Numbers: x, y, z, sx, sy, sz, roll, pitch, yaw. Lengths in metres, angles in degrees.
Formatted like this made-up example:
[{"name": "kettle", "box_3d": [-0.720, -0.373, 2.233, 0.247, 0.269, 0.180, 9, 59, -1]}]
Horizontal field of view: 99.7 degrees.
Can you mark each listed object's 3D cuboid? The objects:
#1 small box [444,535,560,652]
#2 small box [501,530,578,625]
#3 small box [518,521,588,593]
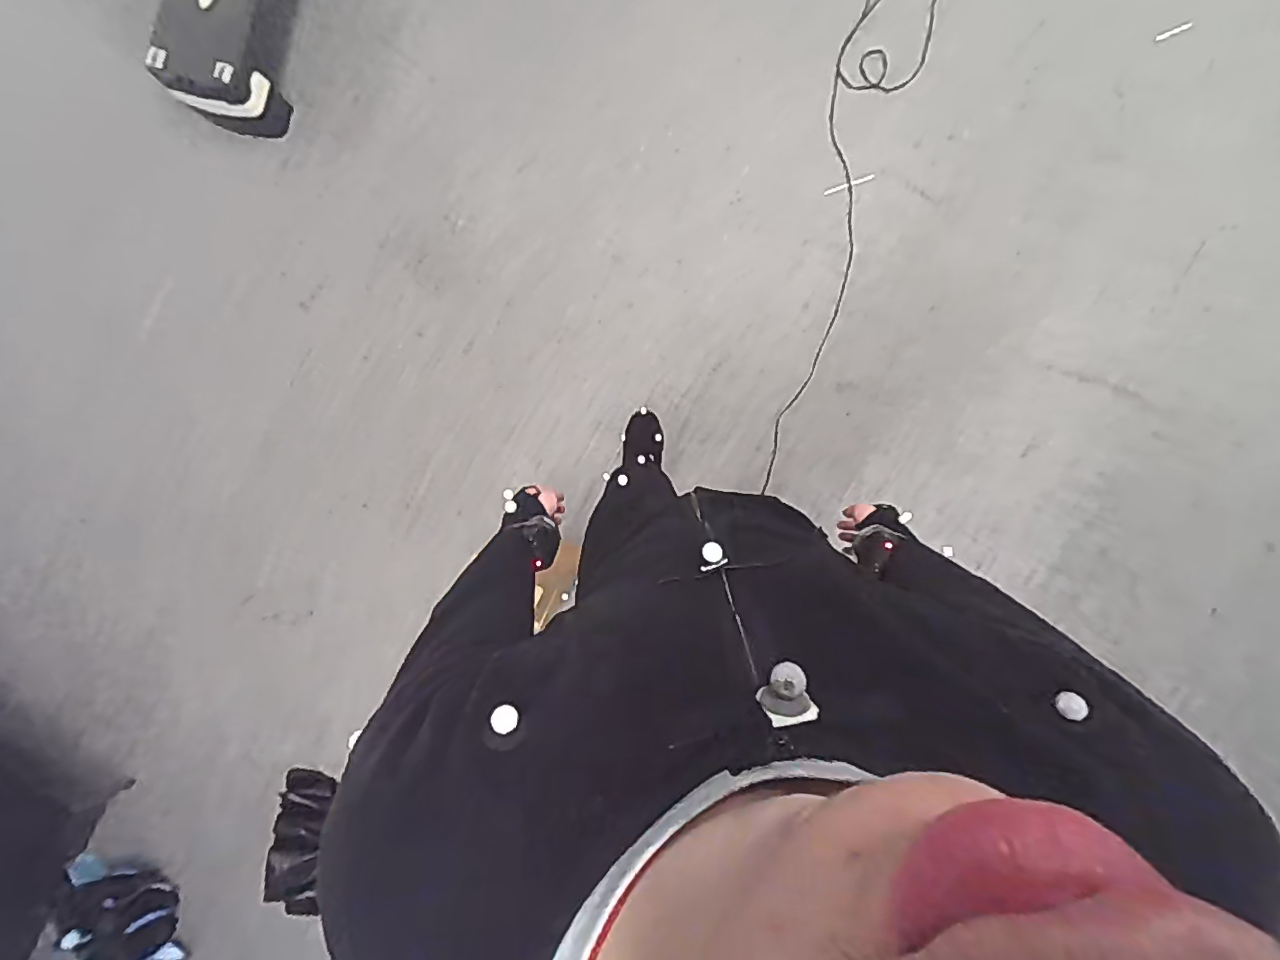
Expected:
[{"name": "small box", "box_3d": [-0.295, 0.243, 1.200, 0.168, 0.176, 0.179, 26, 96, 5]}, {"name": "small box", "box_3d": [-0.278, 0.236, 1.362, 0.179, 0.176, 0.168, 25, 95, 4]}, {"name": "small box", "box_3d": [-0.266, 0.224, 1.526, 0.179, 0.176, 0.168, 25, 95, 3]}]
